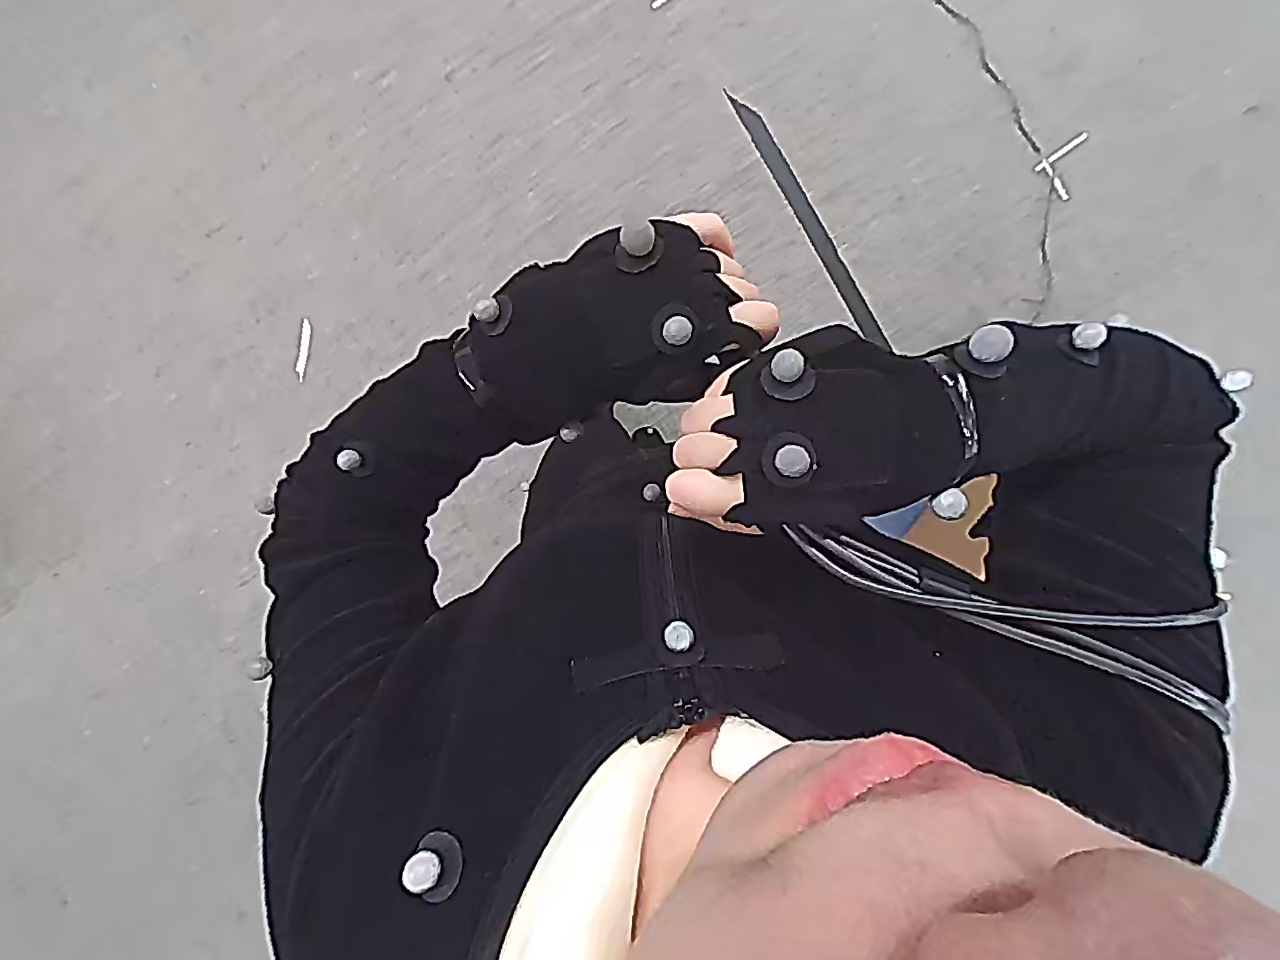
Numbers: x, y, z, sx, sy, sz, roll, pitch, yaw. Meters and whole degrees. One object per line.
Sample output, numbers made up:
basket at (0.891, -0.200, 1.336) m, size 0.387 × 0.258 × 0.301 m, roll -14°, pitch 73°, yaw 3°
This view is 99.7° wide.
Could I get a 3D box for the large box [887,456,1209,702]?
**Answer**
large box at (0.853, 0.189, 1.189) m, size 0.408 × 0.320 × 0.320 m, roll 37°, pitch 95°, yaw -5°
